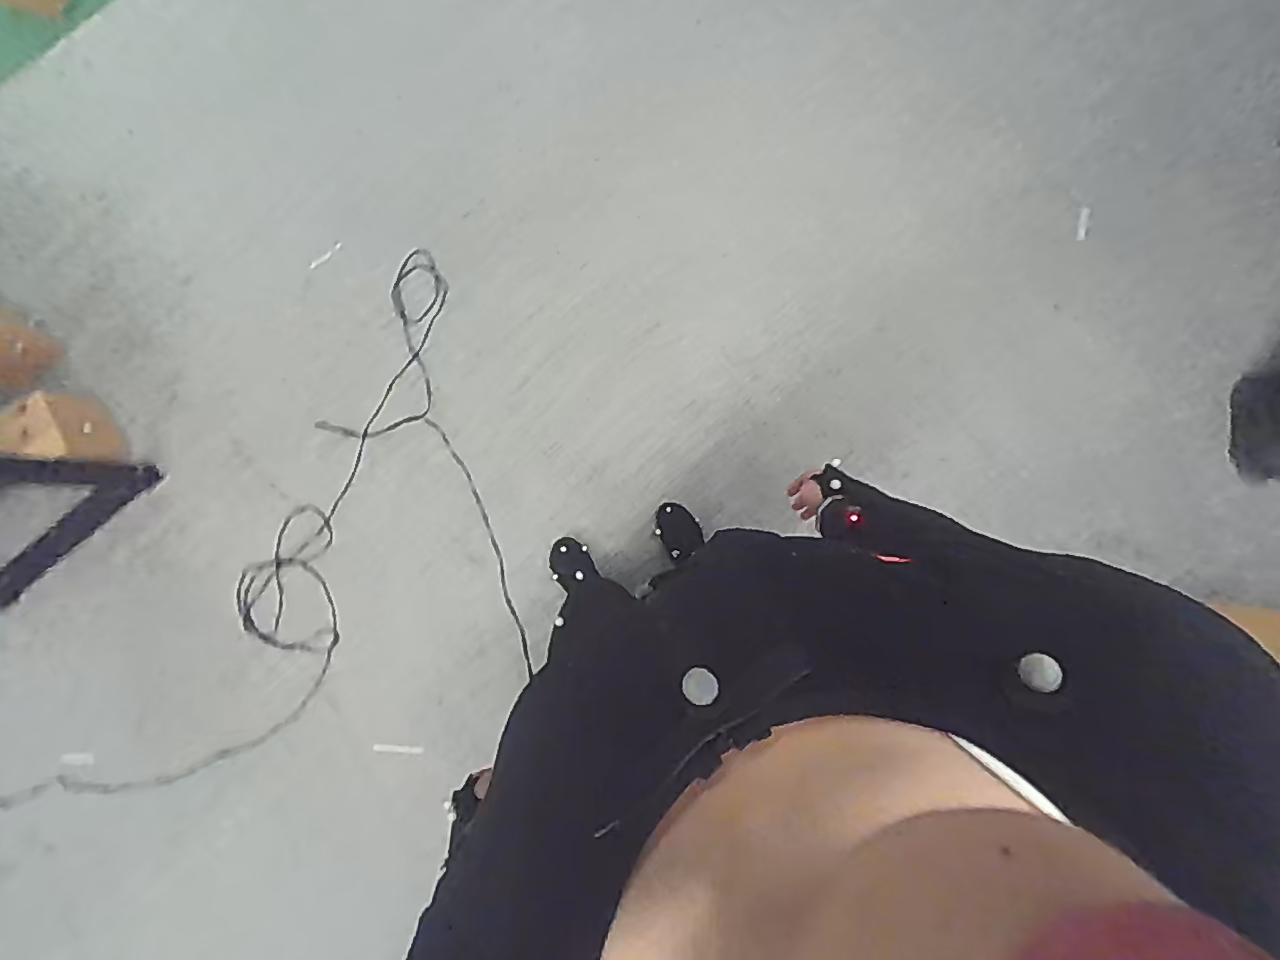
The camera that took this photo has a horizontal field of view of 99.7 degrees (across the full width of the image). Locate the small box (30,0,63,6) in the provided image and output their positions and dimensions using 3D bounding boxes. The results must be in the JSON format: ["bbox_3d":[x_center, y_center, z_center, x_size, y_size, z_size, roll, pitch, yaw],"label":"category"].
[{"bbox_3d":[-1.734,-1.461,1.482,0.179,0.176,0.168,15,88,0],"label":"small box"}]

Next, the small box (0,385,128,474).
[{"bbox_3d":[-1.532,-0.128,1.433,0.168,0.176,0.179,-27,89,-1],"label":"small box"}]
